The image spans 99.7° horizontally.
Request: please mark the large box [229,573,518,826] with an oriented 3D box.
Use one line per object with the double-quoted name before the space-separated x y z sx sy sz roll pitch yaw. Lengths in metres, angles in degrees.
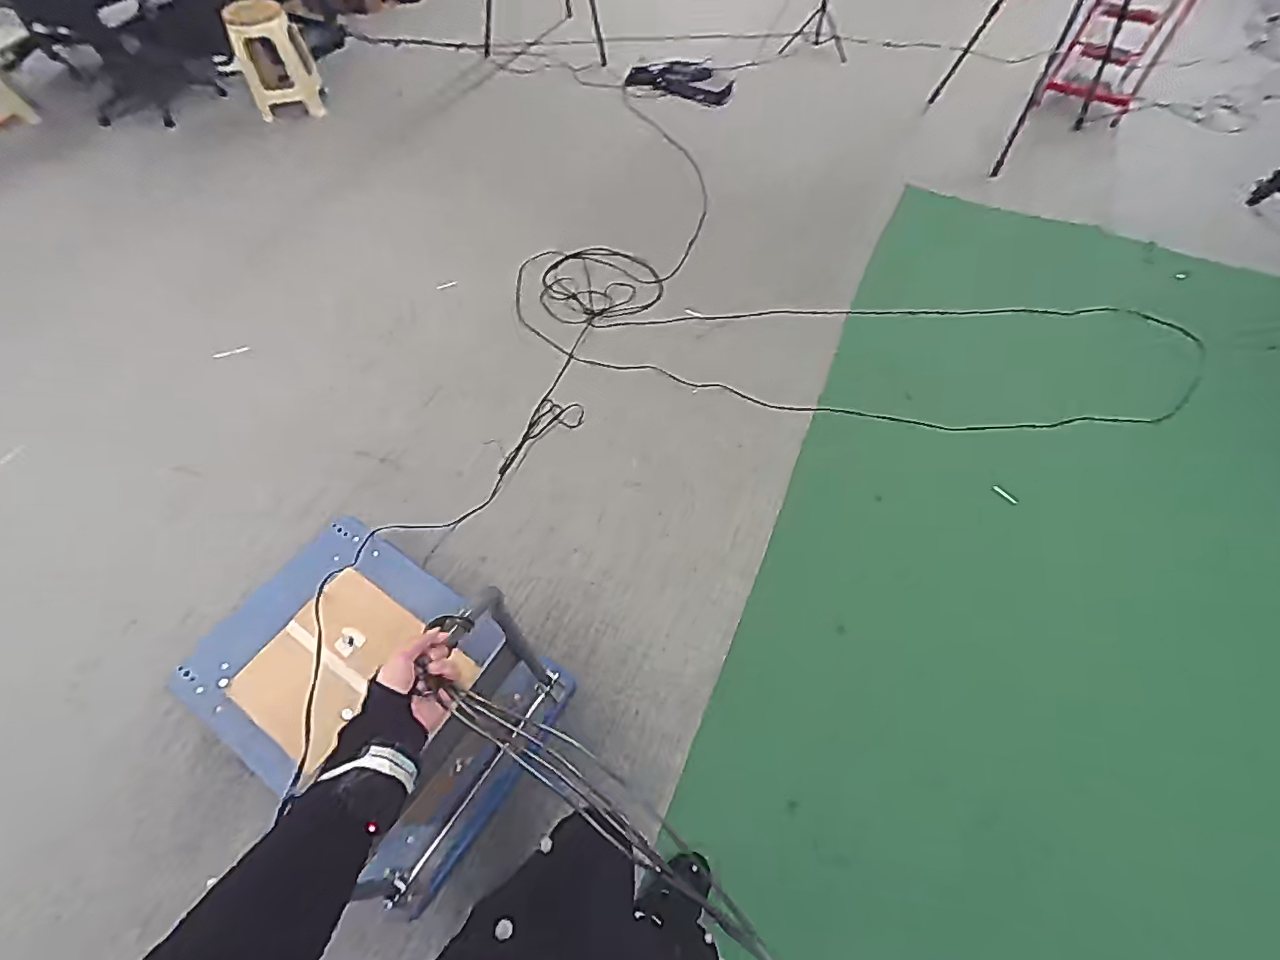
"large box" -0.537 0.474 1.166 0.408 0.320 0.320 29 62 18
